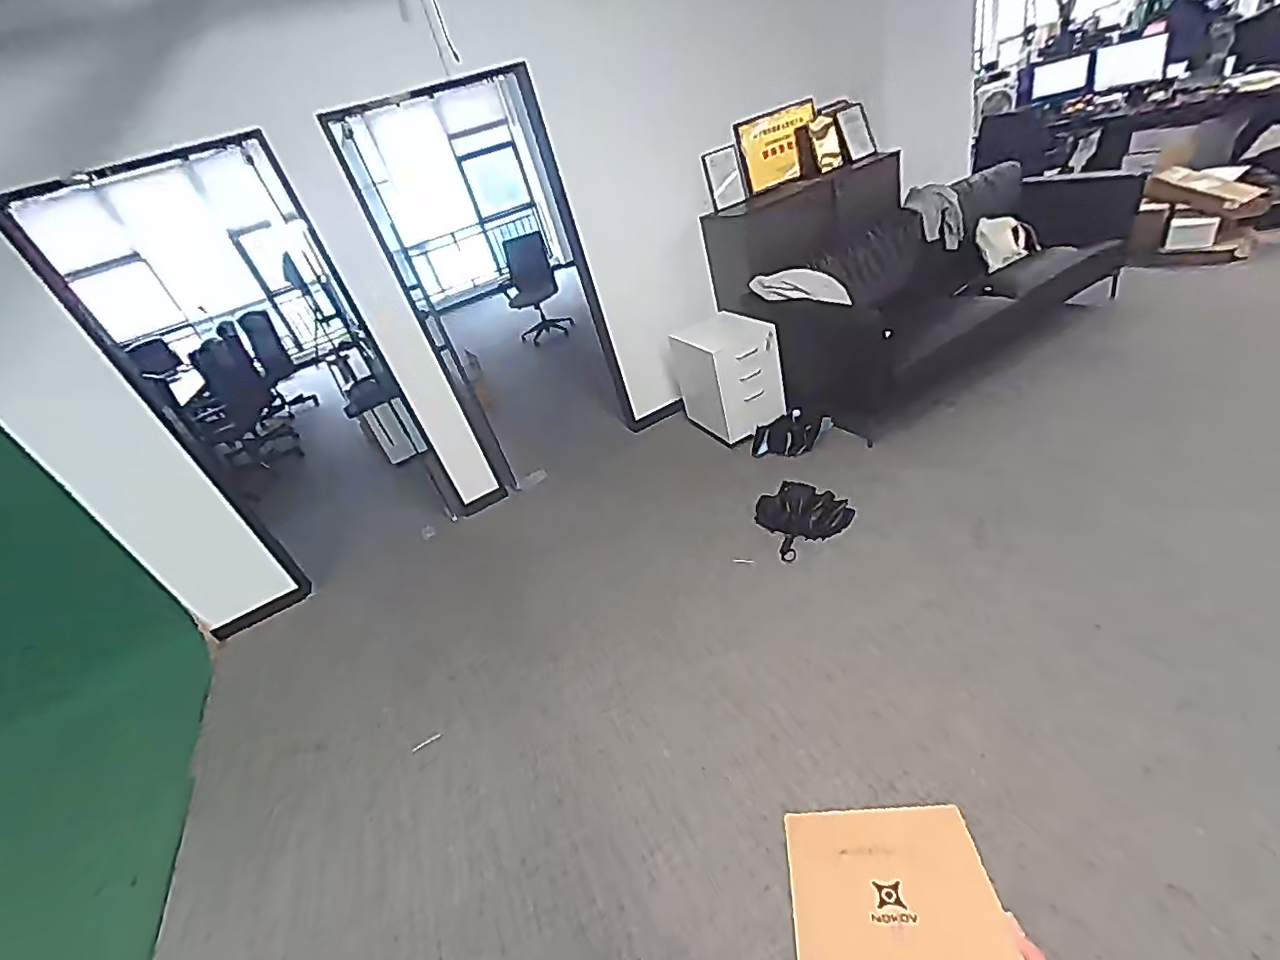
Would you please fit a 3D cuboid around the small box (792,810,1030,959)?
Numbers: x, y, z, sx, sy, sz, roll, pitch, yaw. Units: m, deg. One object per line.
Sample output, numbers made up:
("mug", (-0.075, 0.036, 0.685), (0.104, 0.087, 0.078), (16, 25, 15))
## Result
("small box", (0.235, 0.429, 0.470), (0.168, 0.176, 0.179), (-11, 14, 13))
